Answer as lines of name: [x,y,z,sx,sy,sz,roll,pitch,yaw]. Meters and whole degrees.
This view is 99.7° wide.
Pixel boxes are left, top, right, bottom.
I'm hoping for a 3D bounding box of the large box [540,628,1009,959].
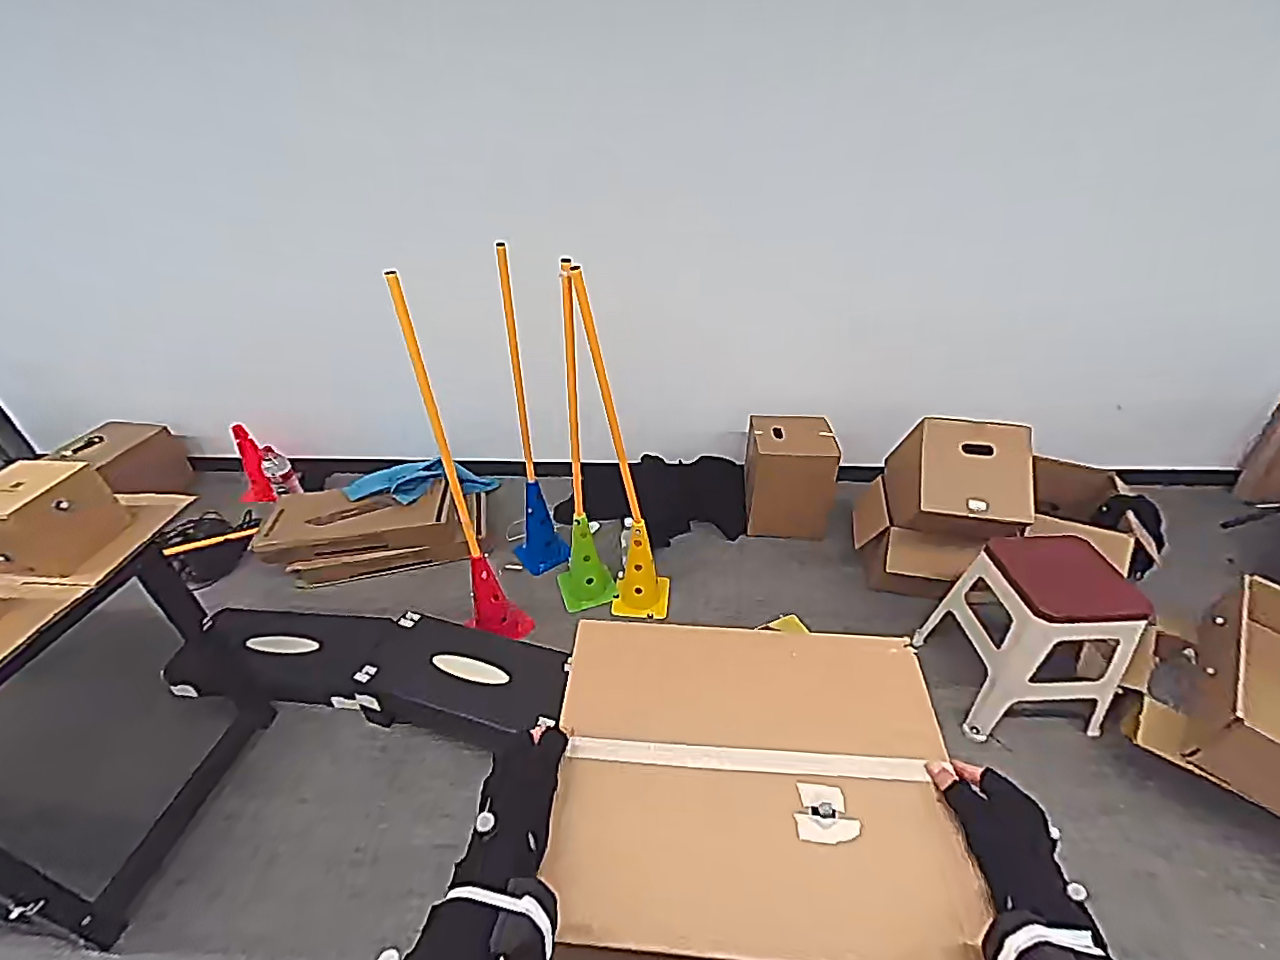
large box: [0.120,0.407,0.664,0.408,0.320,0.320,2,42,4]
